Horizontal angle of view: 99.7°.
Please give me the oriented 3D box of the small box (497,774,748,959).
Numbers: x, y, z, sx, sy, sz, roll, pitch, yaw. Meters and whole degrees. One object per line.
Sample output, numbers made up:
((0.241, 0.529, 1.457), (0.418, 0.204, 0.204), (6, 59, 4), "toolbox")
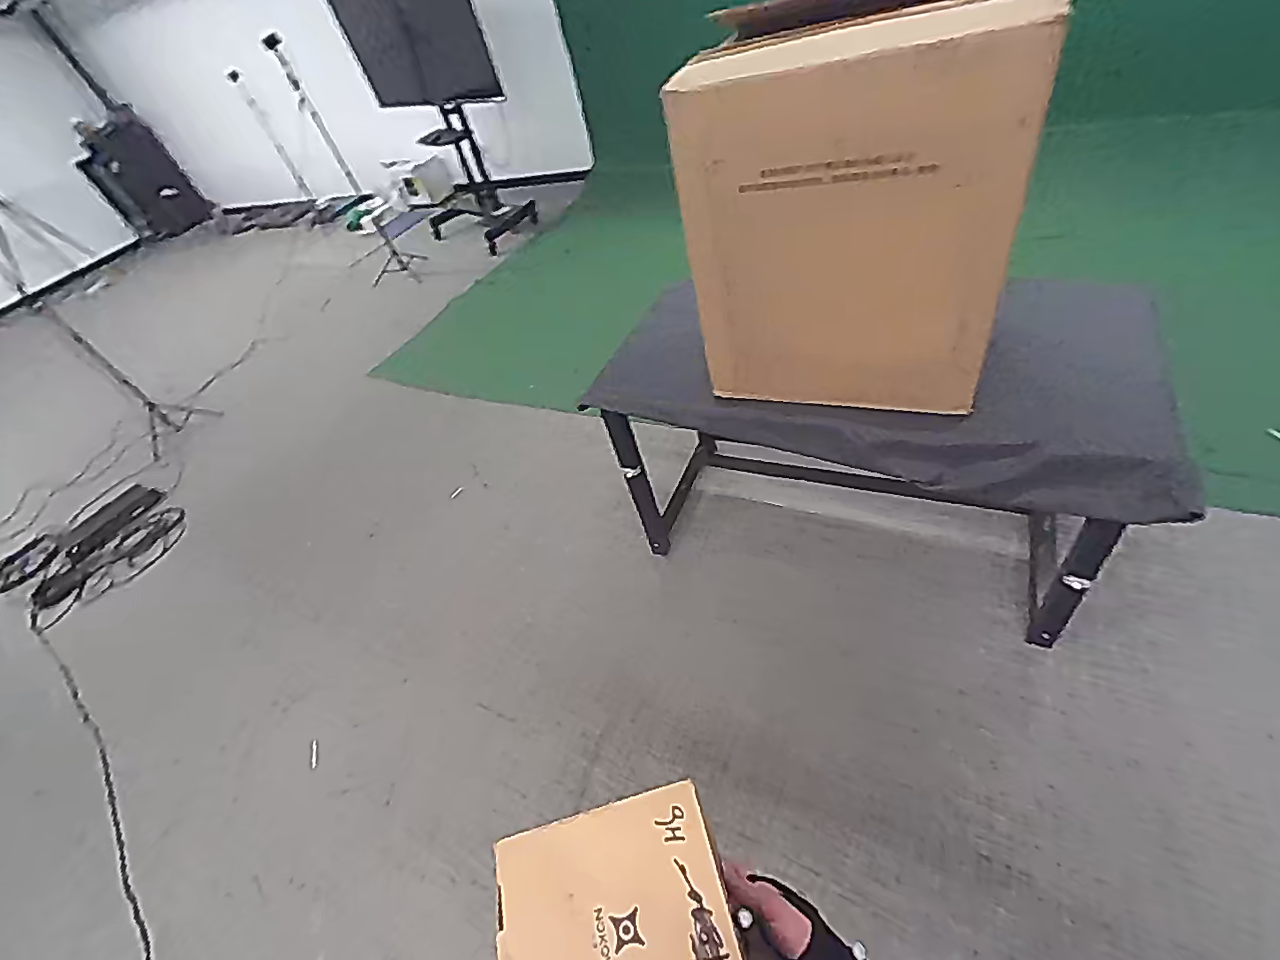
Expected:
((-0.009, 0.379, 0.475), (0.179, 0.176, 0.168), (-16, 55, 0), "small box")
